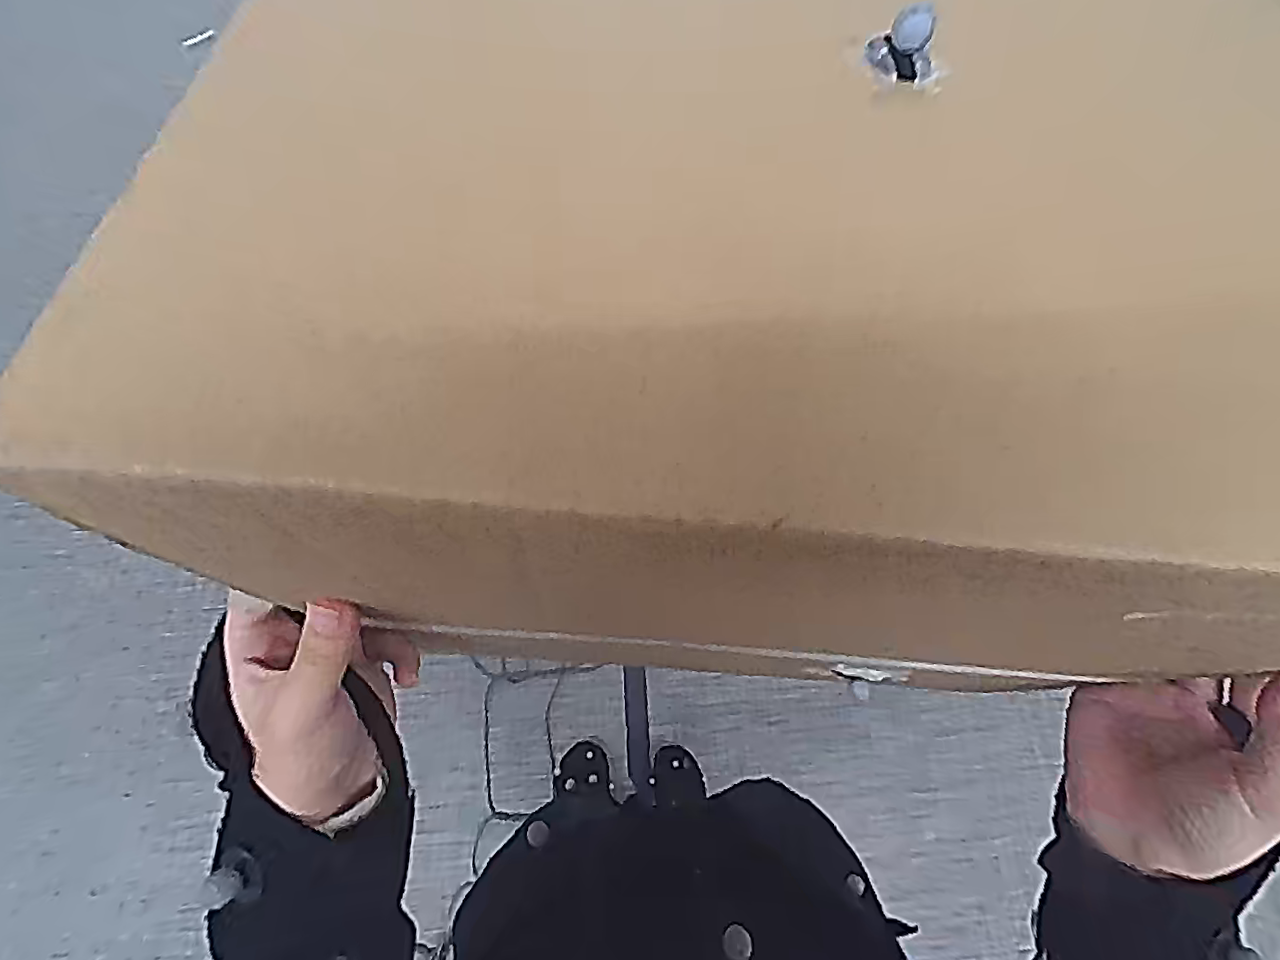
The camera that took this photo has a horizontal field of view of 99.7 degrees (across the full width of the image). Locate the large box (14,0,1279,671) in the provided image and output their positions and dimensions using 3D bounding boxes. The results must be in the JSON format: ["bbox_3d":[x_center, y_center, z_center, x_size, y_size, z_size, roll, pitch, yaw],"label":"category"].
[{"bbox_3d":[0.064,-0.075,0.310,0.408,0.320,0.320,5,67,-4],"label":"large box"}]
